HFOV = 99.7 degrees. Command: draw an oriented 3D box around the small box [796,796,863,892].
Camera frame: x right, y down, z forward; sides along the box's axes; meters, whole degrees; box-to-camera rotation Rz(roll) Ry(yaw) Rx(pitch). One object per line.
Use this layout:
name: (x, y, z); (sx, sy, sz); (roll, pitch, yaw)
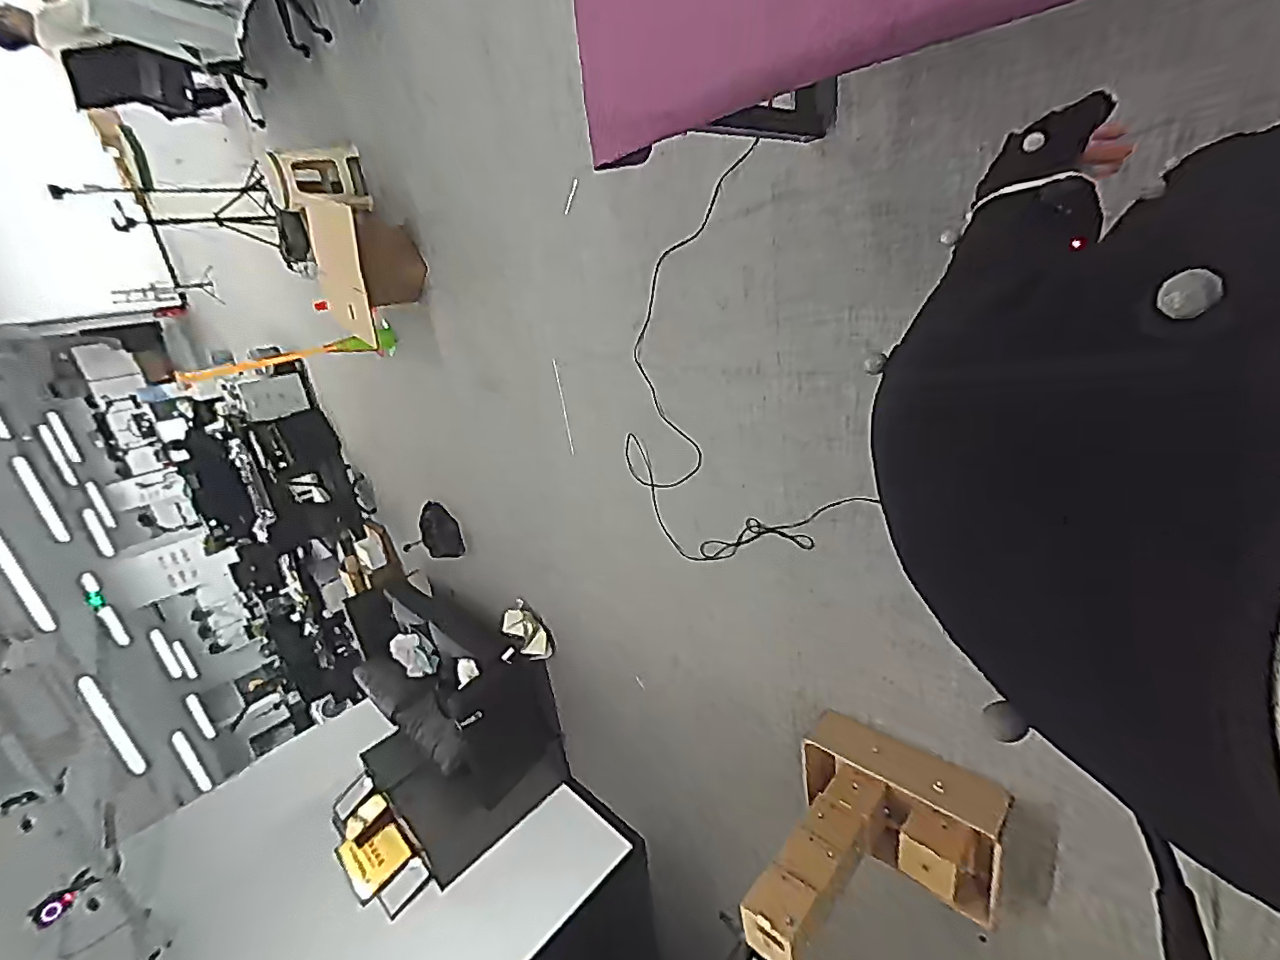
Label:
small box: (0.645, 1.225, 1.835); (0.168, 0.176, 0.179); (10, 118, 43)

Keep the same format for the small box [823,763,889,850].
small box: (0.778, 1.163, 1.942); (0.168, 0.176, 0.179); (5, 114, 44)

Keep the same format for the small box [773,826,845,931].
small box: (0.544, 1.269, 1.737); (0.168, 0.176, 0.179); (12, 119, 44)
